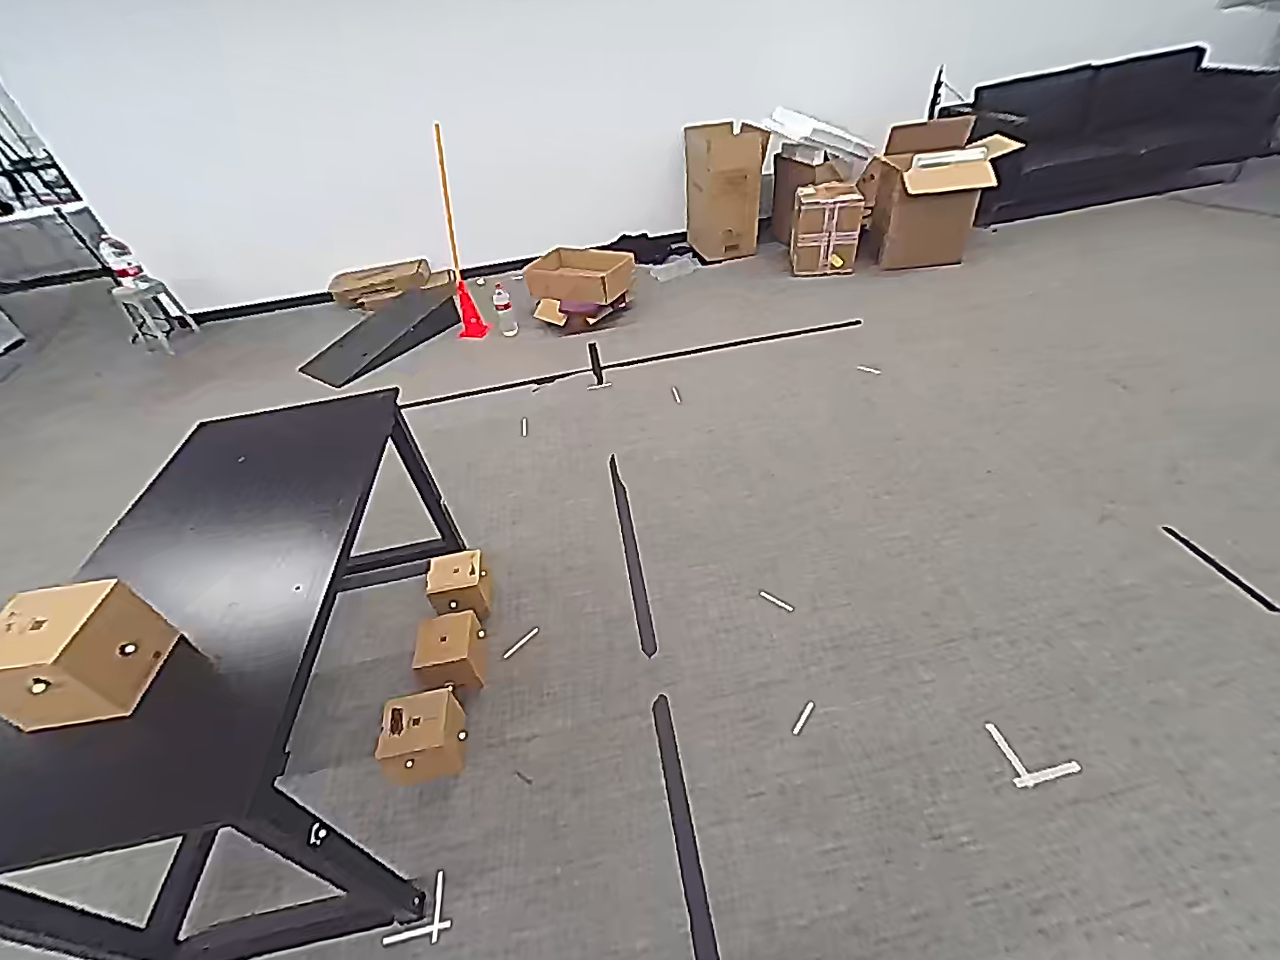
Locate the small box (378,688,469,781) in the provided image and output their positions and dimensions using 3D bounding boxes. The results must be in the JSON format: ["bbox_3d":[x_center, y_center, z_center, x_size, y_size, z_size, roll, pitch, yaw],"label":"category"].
[{"bbox_3d":[-0.595,0.712,1.506,0.179,0.176,0.168,-11,41,-4],"label":"small box"}]

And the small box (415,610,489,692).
[{"bbox_3d":[-0.583,0.544,1.701,0.168,0.176,0.179,-12,41,-3],"label":"small box"}]

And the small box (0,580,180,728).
[{"bbox_3d":[-0.957,0.298,0.925,0.179,0.176,0.168,-9,40,0],"label":"small box"}]

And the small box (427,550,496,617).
[{"bbox_3d":[-0.622,0.376,1.899,0.179,0.176,0.168,-12,41,-3],"label":"small box"}]
